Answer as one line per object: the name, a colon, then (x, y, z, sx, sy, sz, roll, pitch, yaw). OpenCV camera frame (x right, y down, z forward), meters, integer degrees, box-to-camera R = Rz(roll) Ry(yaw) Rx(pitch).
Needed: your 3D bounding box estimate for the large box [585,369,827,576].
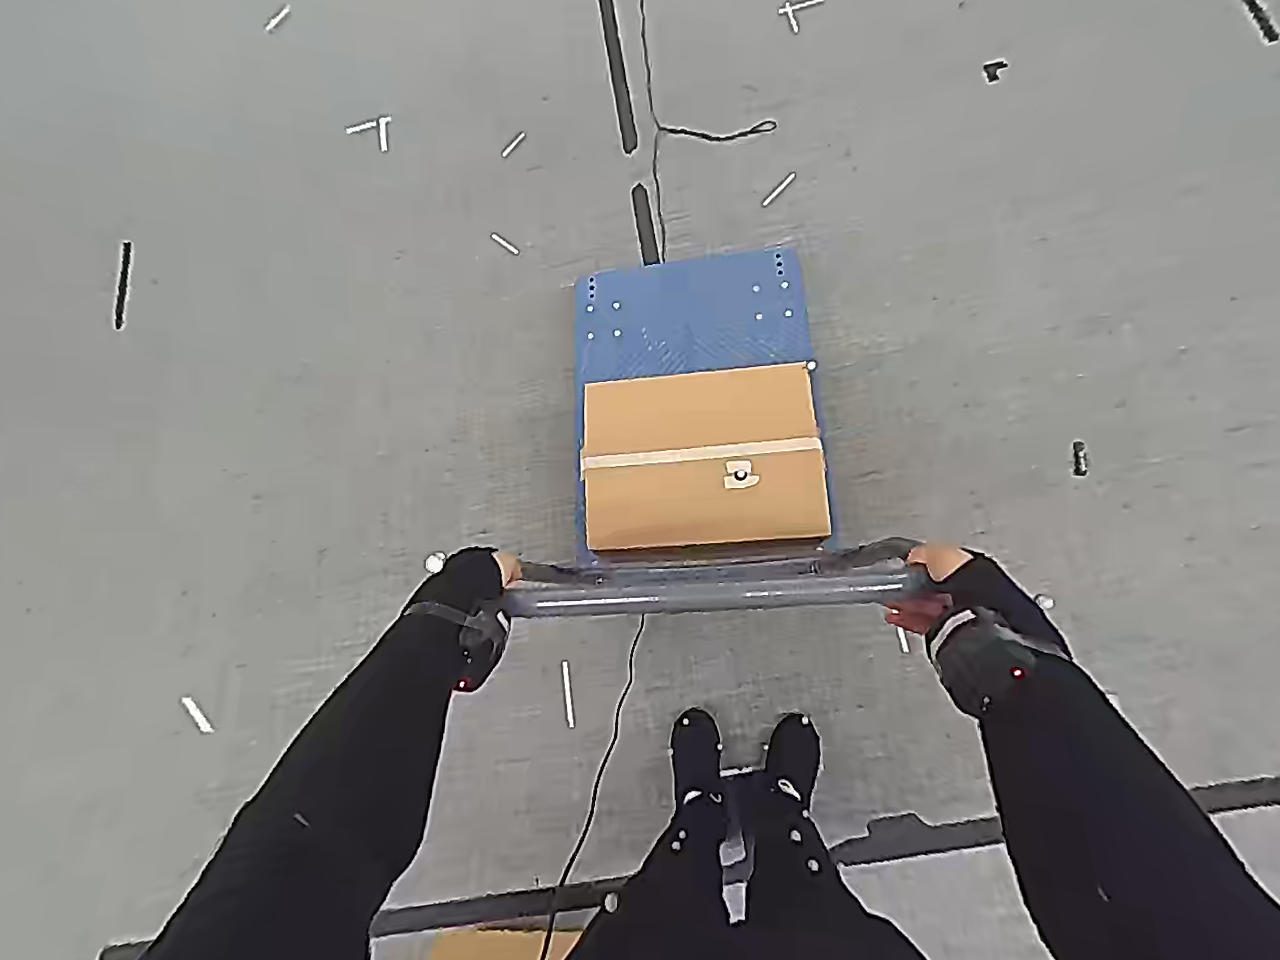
large box: (0.119, 0.007, 1.086, 0.408, 0.320, 0.320, -5, 74, 6)
